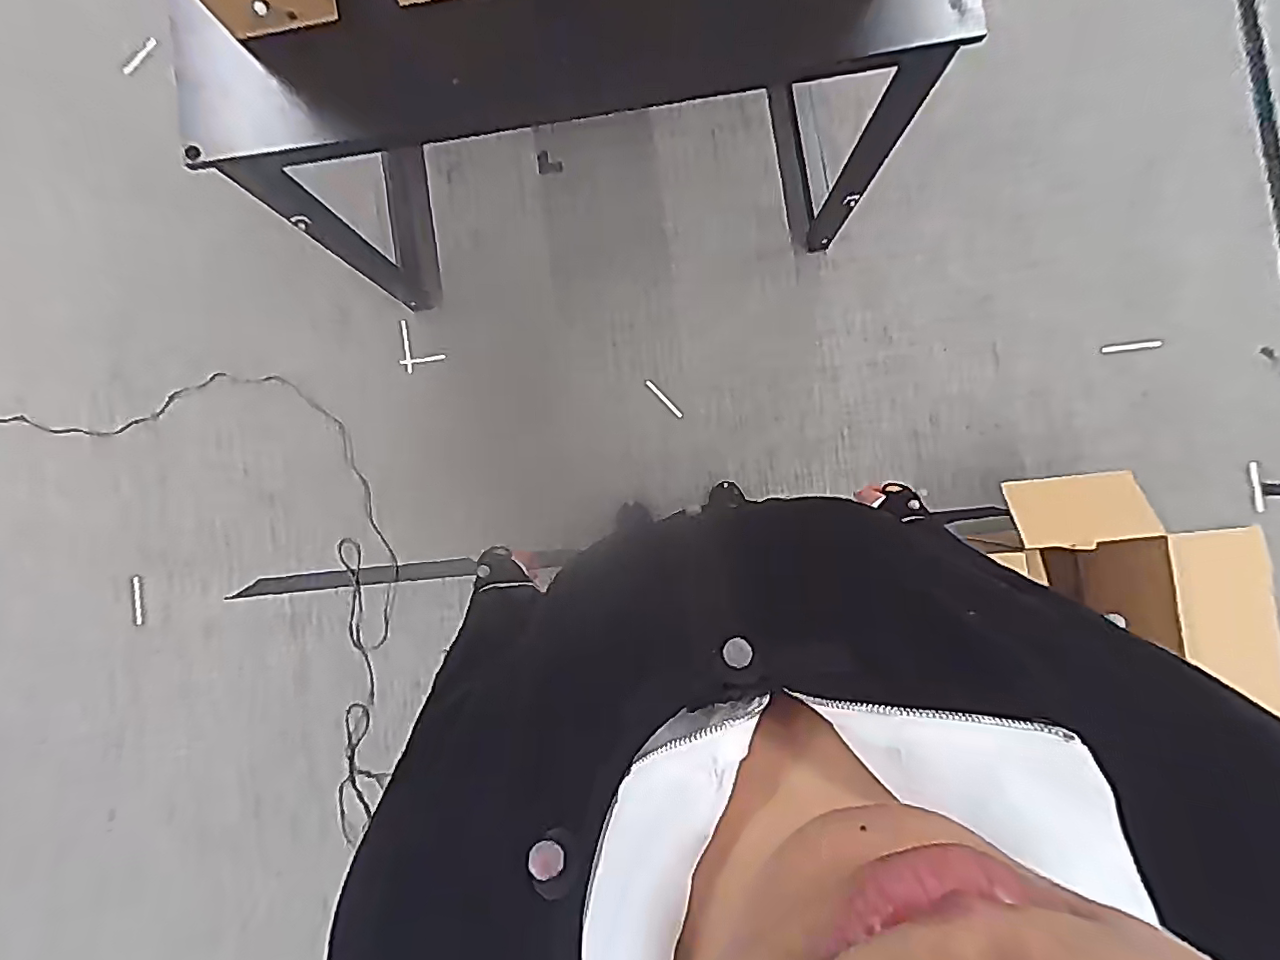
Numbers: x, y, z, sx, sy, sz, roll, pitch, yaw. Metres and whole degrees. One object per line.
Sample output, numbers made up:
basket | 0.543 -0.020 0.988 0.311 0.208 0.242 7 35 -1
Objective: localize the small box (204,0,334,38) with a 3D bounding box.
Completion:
small box | -0.558 -0.773 0.747 0.168 0.176 0.179 -10 89 2
